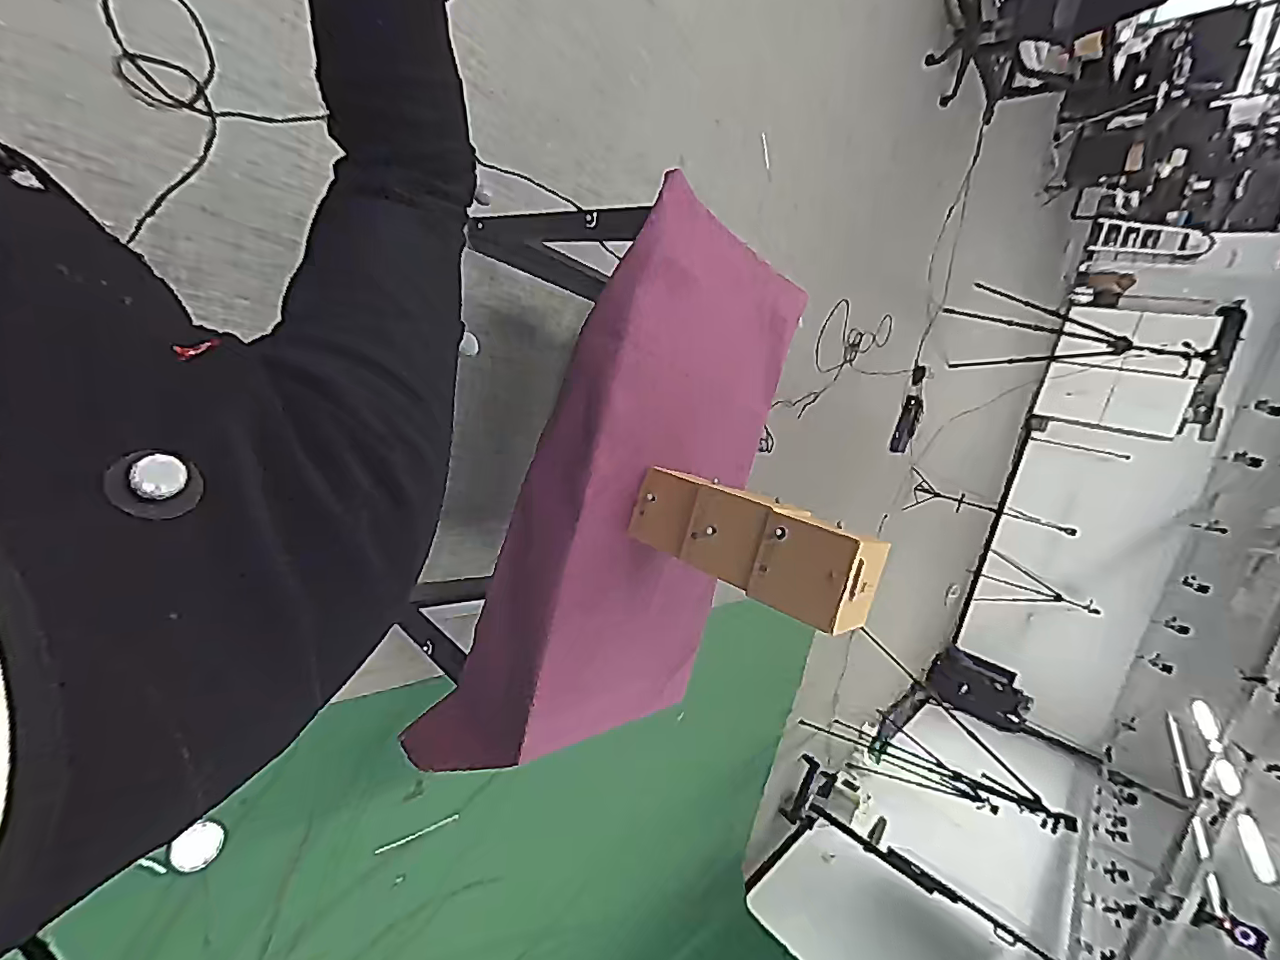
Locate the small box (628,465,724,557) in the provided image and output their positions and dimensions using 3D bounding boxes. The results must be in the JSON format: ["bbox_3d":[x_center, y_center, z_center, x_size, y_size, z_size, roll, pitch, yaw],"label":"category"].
[{"bbox_3d":[0.103,0.071,1.216,0.179,0.176,0.168,12,97,-49],"label":"small box"}]

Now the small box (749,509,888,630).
[{"bbox_3d":[0.323,0.157,0.987,0.179,0.176,0.168,10,98,-50],"label":"small box"}]

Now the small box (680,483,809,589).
[{"bbox_3d":[0.212,0.110,1.099,0.179,0.176,0.168,9,98,-49],"label":"small box"}]
